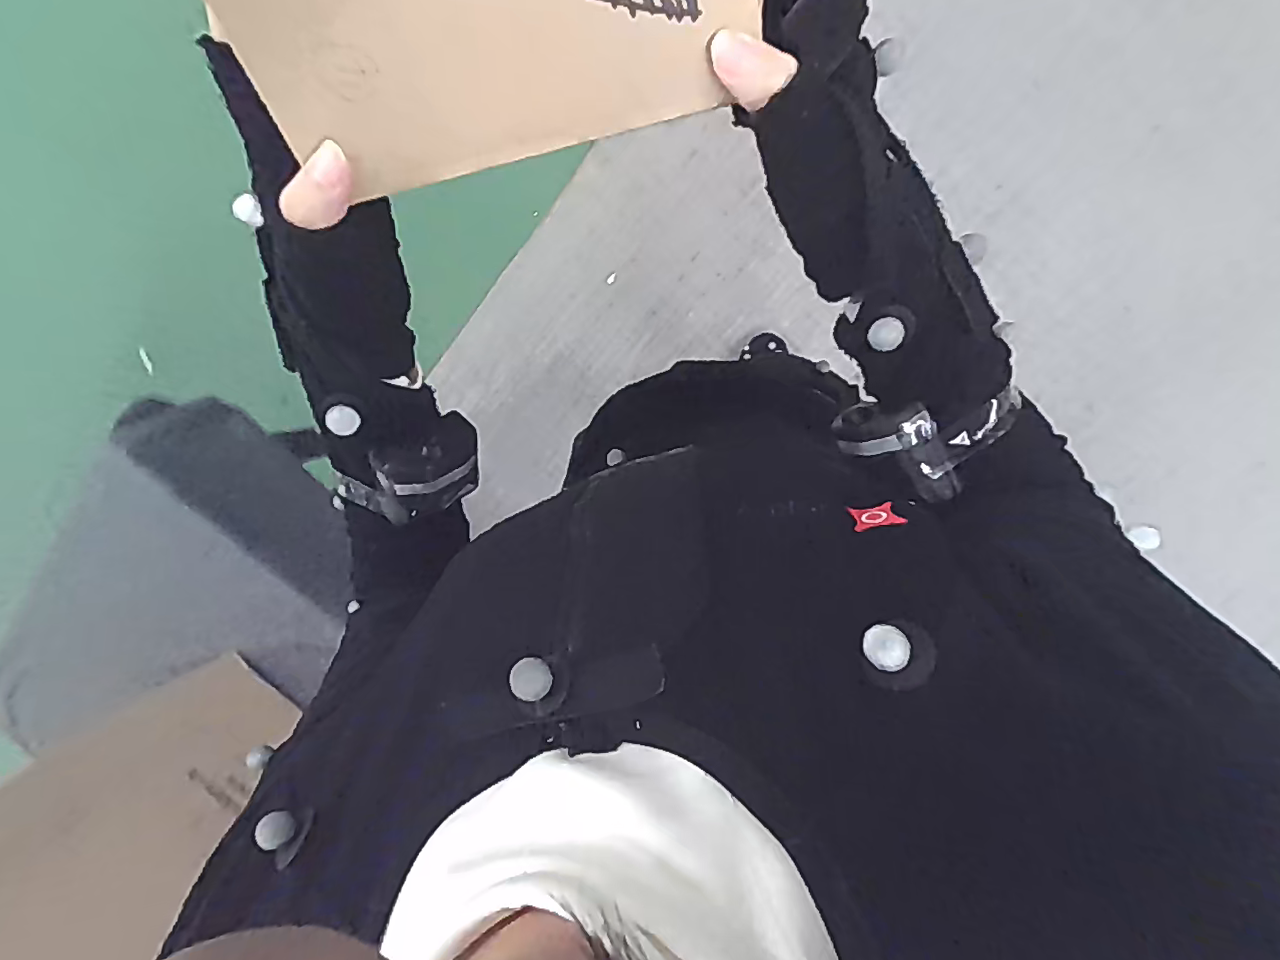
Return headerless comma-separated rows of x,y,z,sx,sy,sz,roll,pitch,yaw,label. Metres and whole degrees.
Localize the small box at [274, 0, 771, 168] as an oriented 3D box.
-0.056,-0.256,0.217,0.179,0.176,0.168,-12,135,1,small box
